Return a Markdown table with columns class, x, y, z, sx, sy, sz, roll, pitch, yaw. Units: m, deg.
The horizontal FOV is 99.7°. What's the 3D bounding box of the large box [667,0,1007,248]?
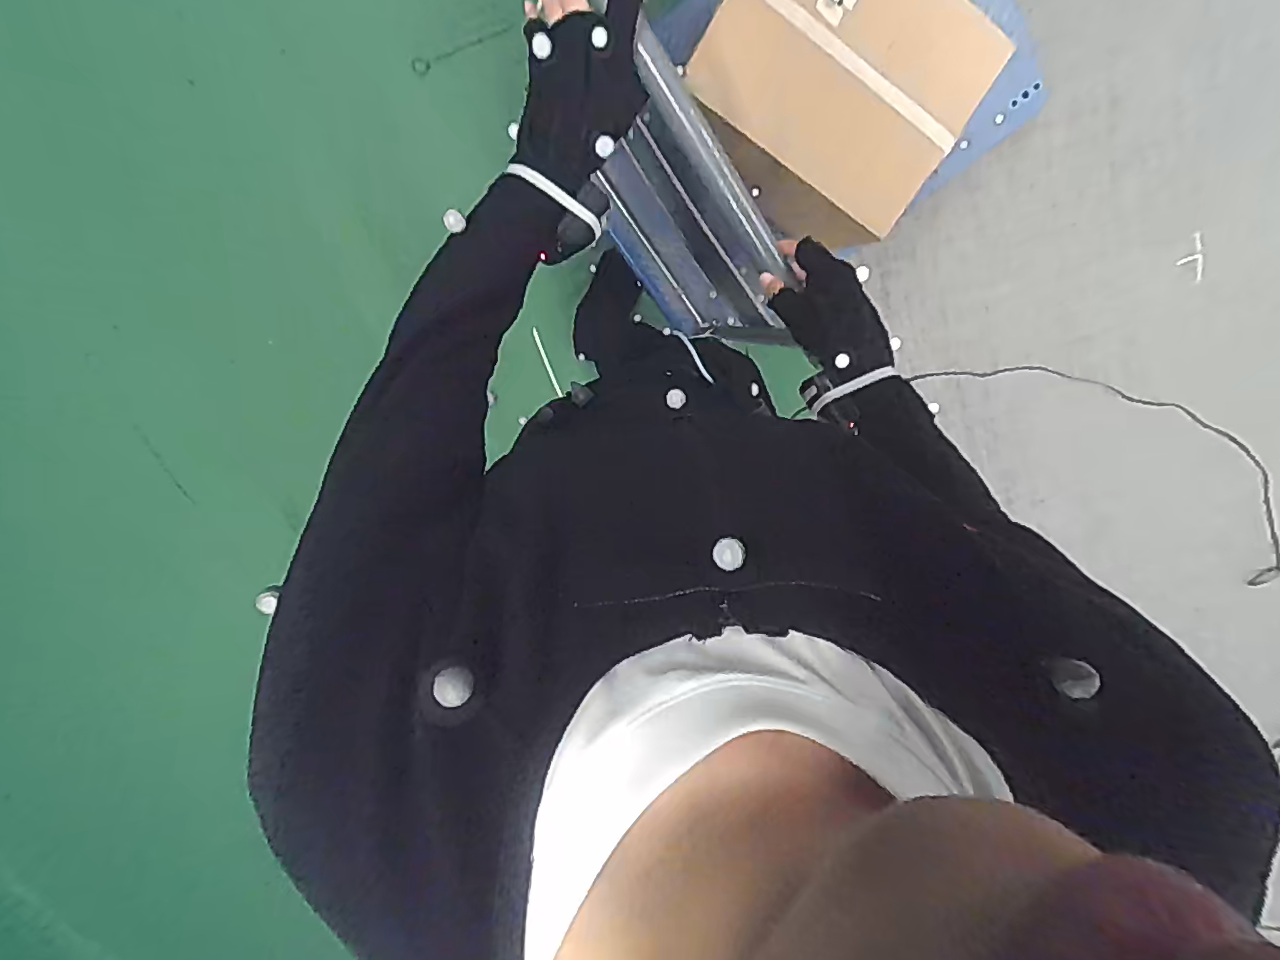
| class | x | y | z | sx | sy | sz | roll | pitch | yaw |
| --- | --- | --- | --- | --- | --- | --- | --- | --- | --- |
| large box | 0.299 | -0.661 | 0.946 | 0.408 | 0.320 | 0.320 | 30 | 105 | -10 |
